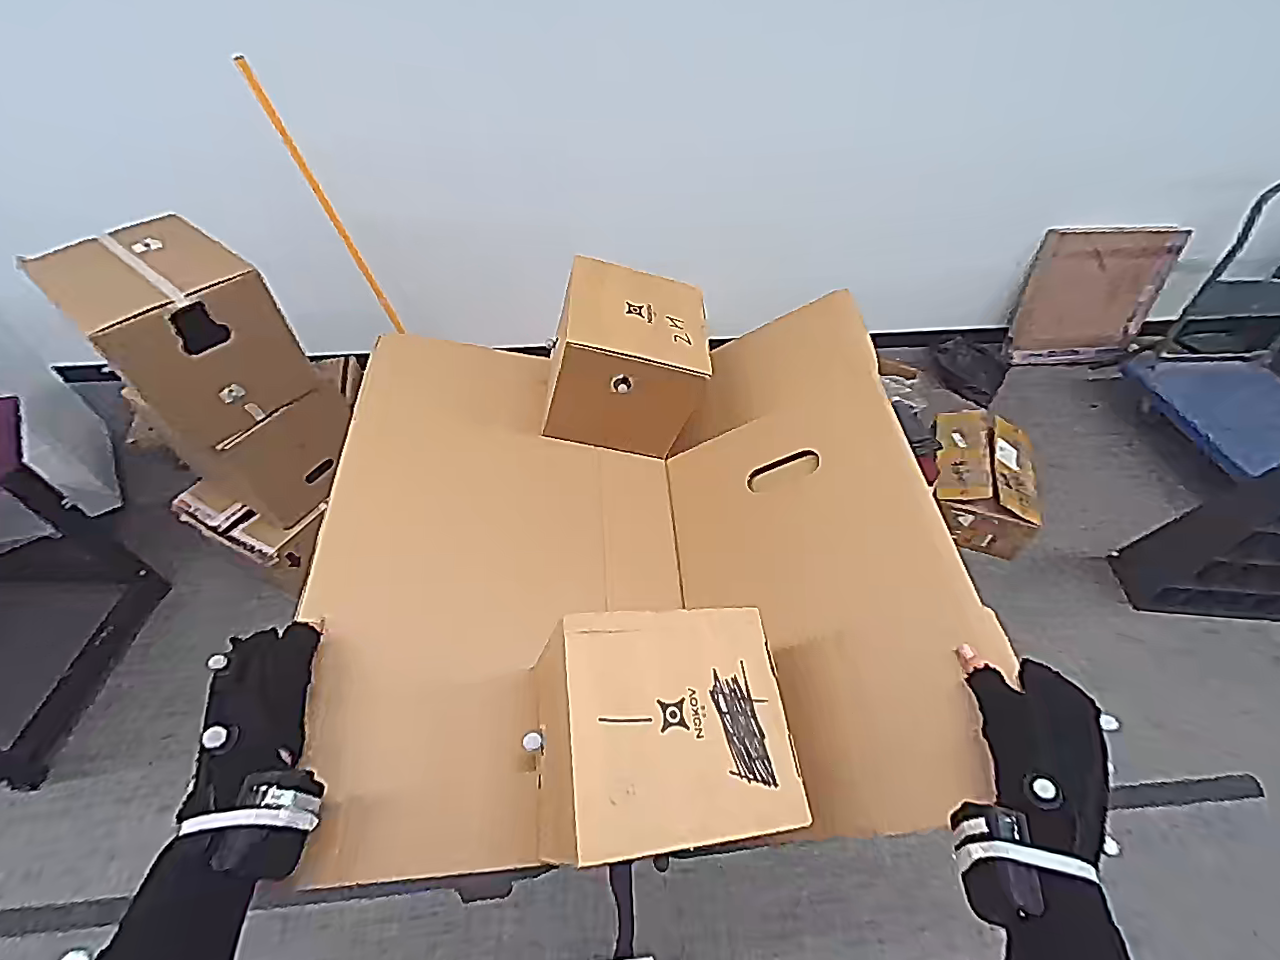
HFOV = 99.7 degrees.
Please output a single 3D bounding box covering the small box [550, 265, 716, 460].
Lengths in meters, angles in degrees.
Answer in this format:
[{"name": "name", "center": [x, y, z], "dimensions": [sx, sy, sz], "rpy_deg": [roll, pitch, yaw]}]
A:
[{"name": "small box", "center": [-0.016, -0.146, 0.715], "dimensions": [0.179, 0.176, 0.168], "rpy_deg": [12, 54, -14]}]
